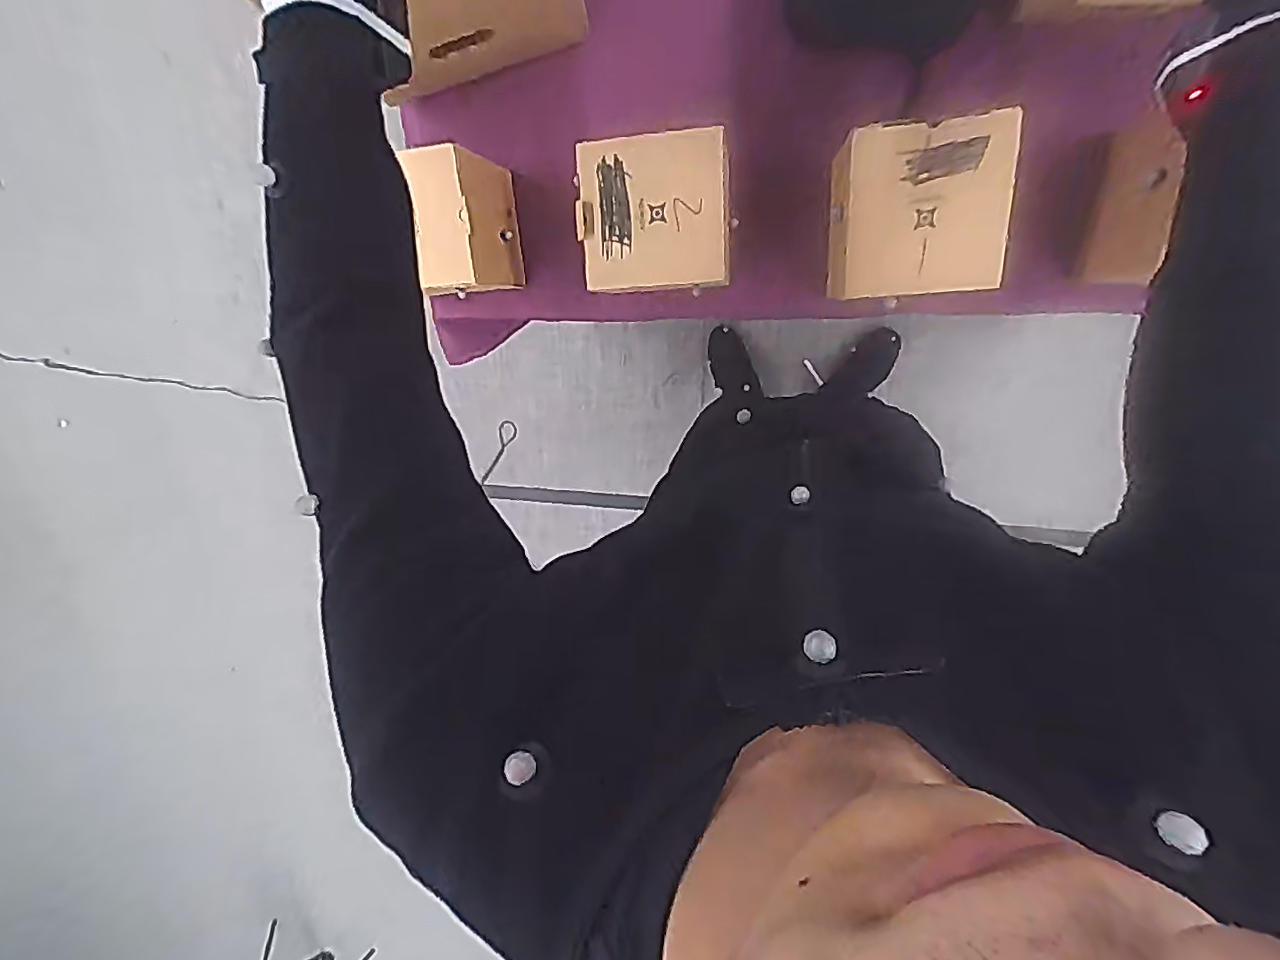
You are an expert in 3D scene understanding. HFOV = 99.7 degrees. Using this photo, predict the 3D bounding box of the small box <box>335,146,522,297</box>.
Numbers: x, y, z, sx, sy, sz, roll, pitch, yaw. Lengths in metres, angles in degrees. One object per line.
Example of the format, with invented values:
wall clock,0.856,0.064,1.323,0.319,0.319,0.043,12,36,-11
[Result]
small box,-0.291,-0.357,0.780,0.179,0.176,0.168,-2,108,11

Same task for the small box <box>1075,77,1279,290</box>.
small box,0.633,-0.310,0.597,0.168,0.176,0.179,8,109,10

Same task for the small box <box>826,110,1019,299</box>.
small box,0.325,-0.318,0.662,0.168,0.176,0.179,0,109,12
